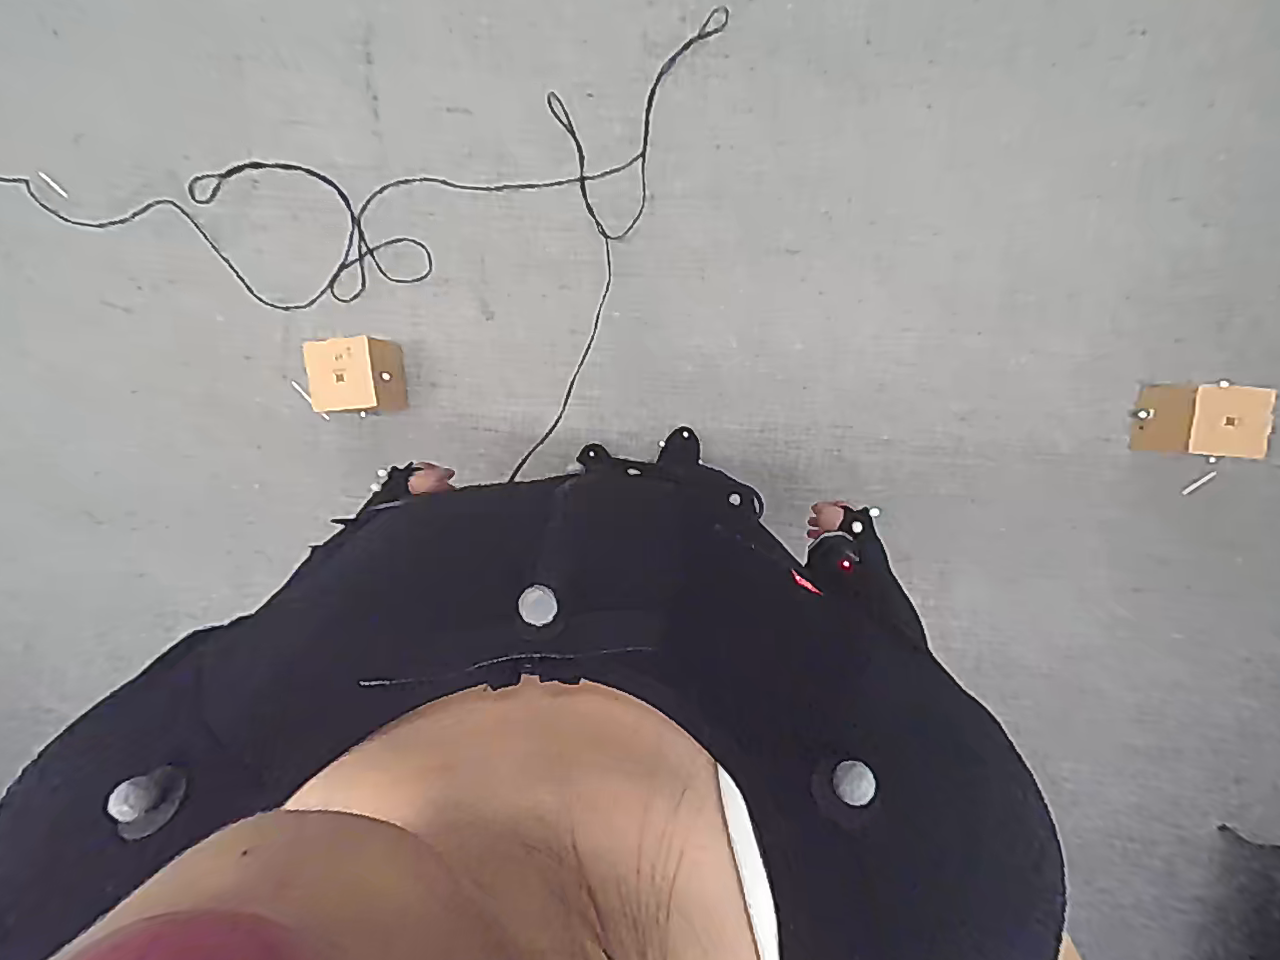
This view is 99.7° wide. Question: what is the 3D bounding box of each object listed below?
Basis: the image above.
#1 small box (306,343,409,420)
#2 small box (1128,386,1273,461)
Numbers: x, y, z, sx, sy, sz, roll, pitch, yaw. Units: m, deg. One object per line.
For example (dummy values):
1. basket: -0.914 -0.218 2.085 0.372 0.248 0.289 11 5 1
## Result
1. small box: -0.721 -0.250 1.400 0.168 0.176 0.179 -6 95 3
2. small box: 1.385 -0.141 1.346 0.179 0.176 0.168 4 96 3
